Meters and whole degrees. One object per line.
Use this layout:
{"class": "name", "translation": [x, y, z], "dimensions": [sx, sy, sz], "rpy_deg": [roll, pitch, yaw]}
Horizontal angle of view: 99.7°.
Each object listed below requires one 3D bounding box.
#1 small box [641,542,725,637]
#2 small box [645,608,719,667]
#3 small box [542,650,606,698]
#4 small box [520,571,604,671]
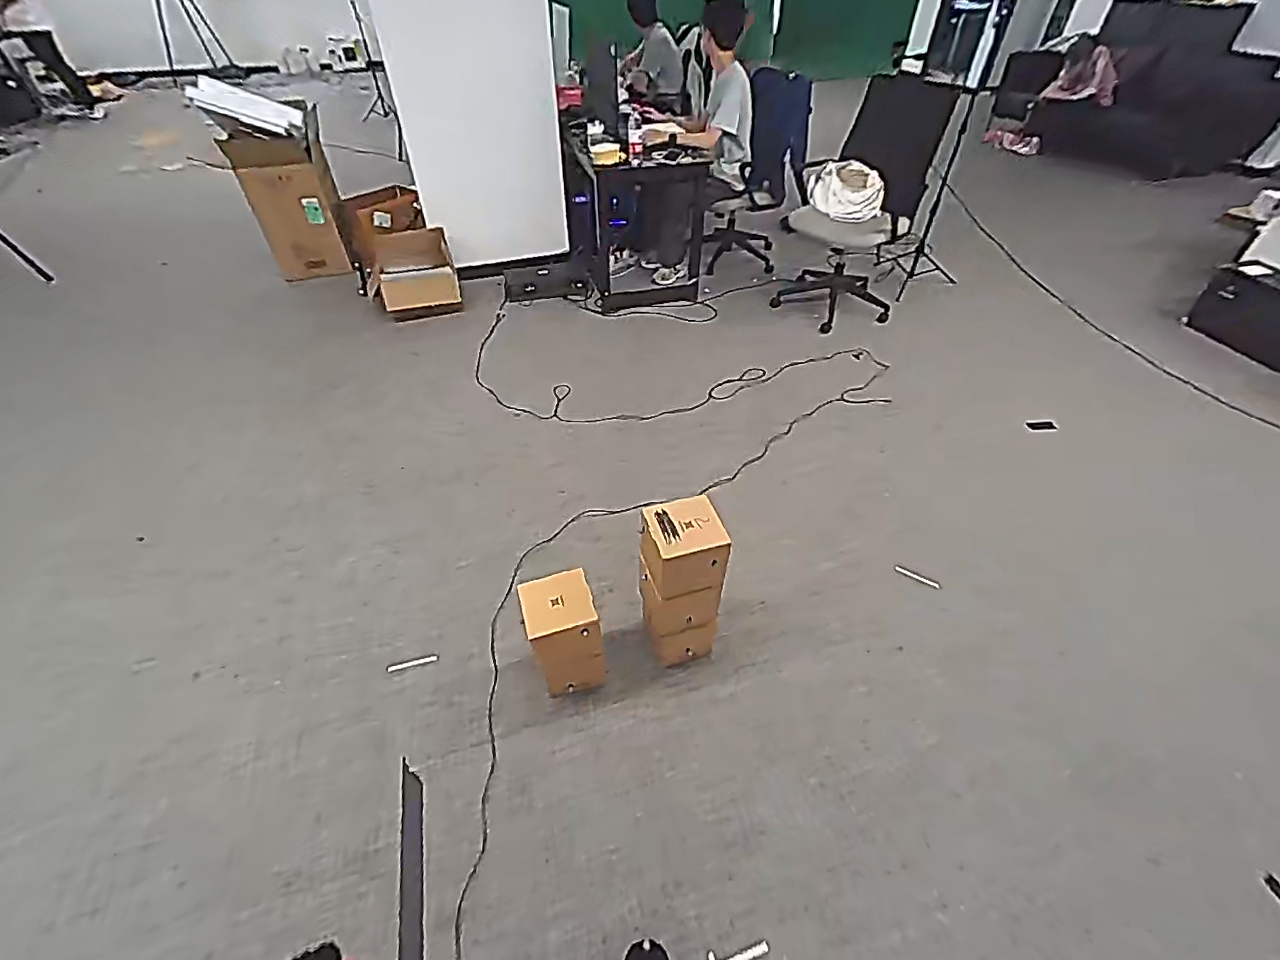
{"class": "small box", "translation": [0.109, 0.298, 1.465], "dimensions": [0.179, 0.176, 0.168], "rpy_deg": [-12, 46, -13]}
{"class": "small box", "translation": [0.115, 0.415, 1.581], "dimensions": [0.168, 0.176, 0.179], "rpy_deg": [-13, 47, -12]}
{"class": "small box", "translation": [-0.193, 0.480, 1.518], "dimensions": [0.168, 0.176, 0.179], "rpy_deg": [-11, 47, -9]}
{"class": "small box", "translation": [-0.201, 0.367, 1.401], "dimensions": [0.179, 0.176, 0.168], "rpy_deg": [-13, 46, -13]}
